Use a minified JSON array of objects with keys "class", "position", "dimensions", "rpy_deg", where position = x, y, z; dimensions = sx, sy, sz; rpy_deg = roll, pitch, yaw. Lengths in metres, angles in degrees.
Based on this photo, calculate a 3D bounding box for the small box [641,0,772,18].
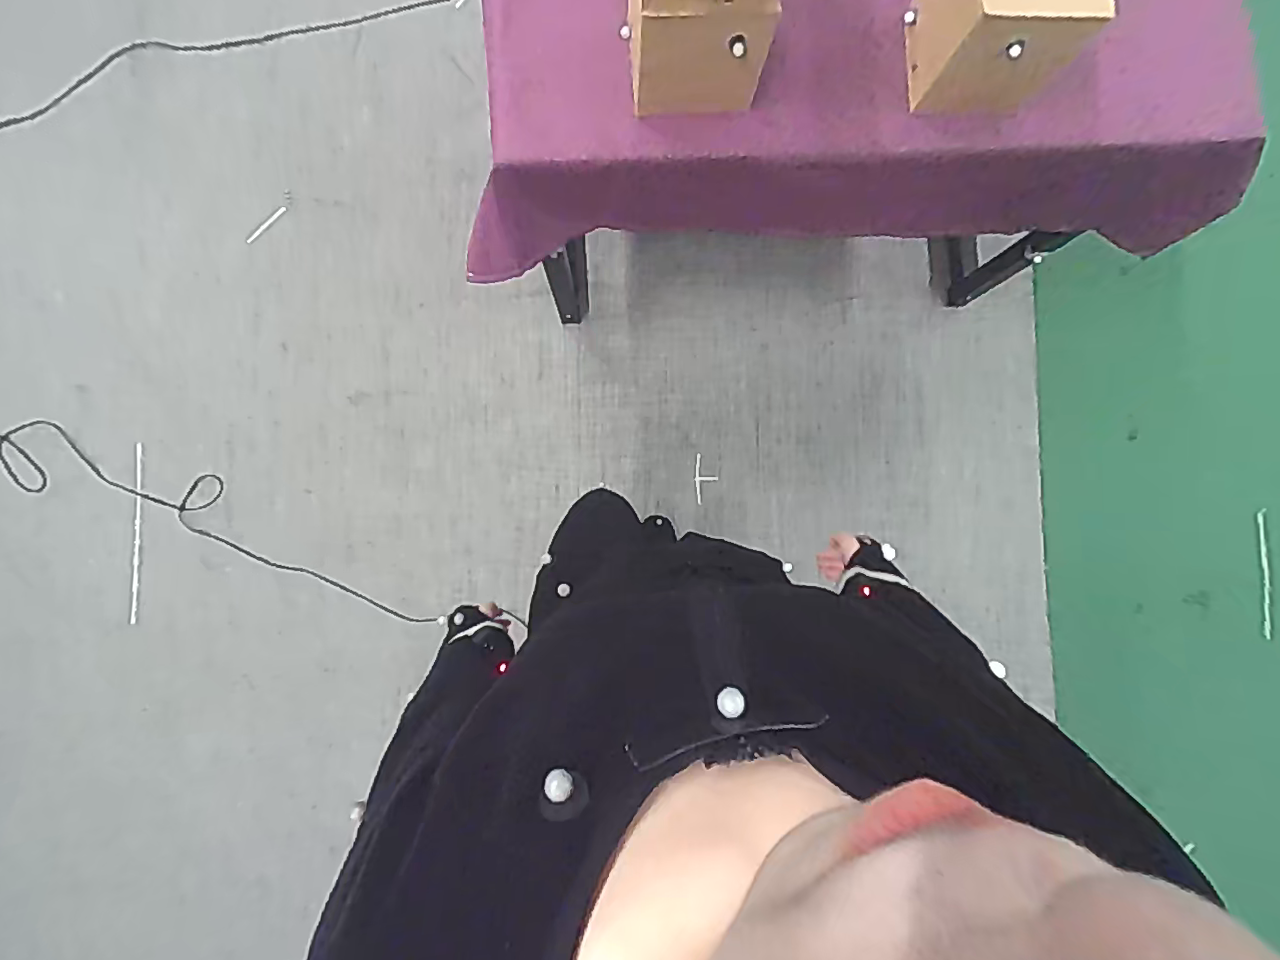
[{"class":"small box","position":[0.078,-0.654,0.581],"dimensions":[0.168,0.176,0.179],"rpy_deg":[-4,87,-3]}]

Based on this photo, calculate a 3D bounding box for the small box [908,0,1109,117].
[{"class":"small box","position":[0.498,-0.648,0.761],"dimensions":[0.179,0.176,0.168],"rpy_deg":[-1,86,-3]}]

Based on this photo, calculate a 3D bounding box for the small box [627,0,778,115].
[{"class":"small box","position":[0.075,-0.638,0.744],"dimensions":[0.179,0.176,0.168],"rpy_deg":[-4,86,-3]}]
